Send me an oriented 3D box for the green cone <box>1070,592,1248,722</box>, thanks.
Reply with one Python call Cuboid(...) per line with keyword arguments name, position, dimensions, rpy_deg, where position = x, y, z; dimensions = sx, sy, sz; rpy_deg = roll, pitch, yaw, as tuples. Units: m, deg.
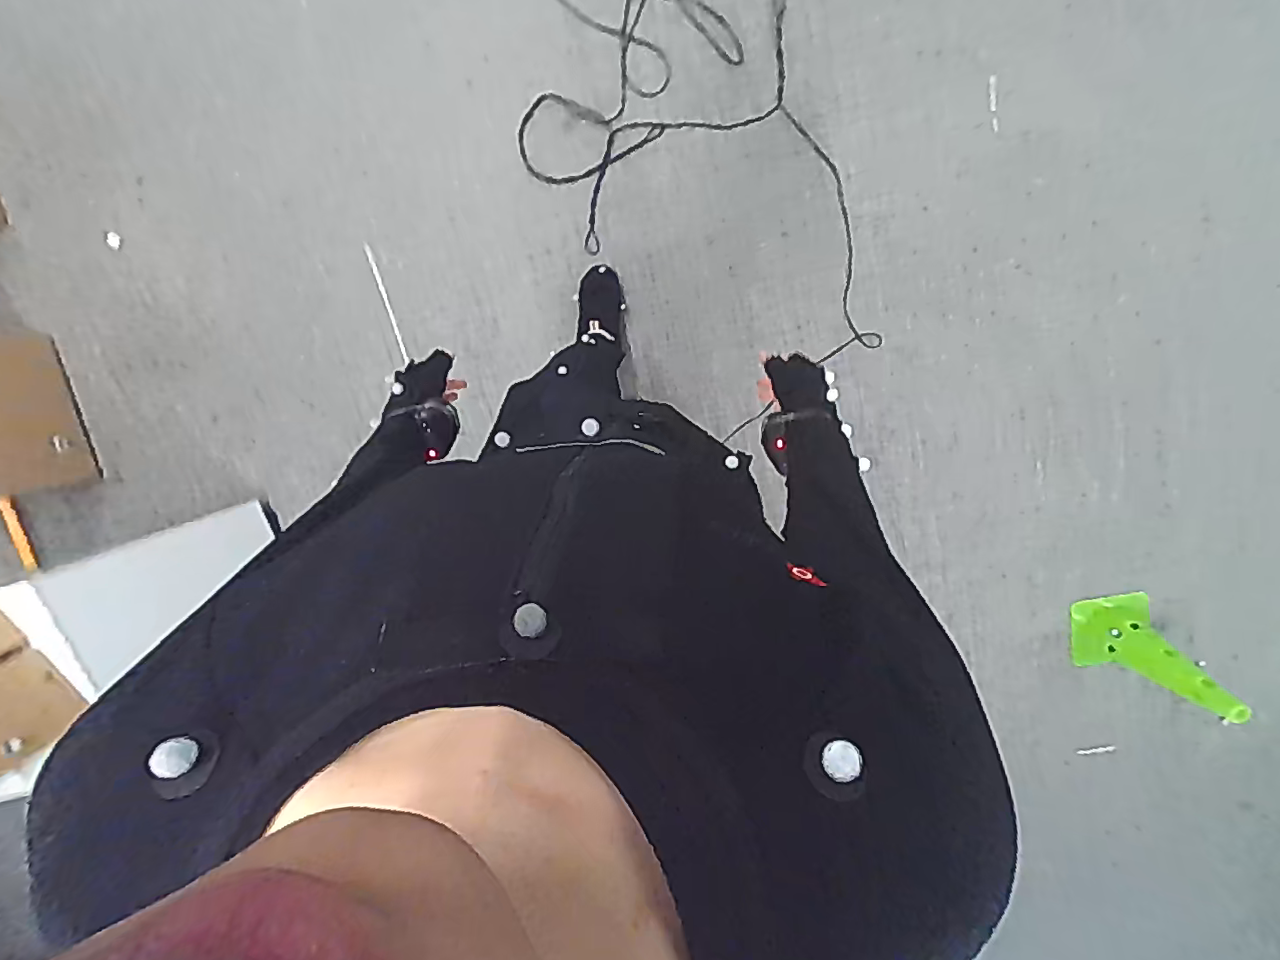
Cuboid(name="green cone", position=(1.274, 0.446, 1.309), dimensions=(0.202, 0.368, 0.200), rpy_deg=(-13, 103, 7))
